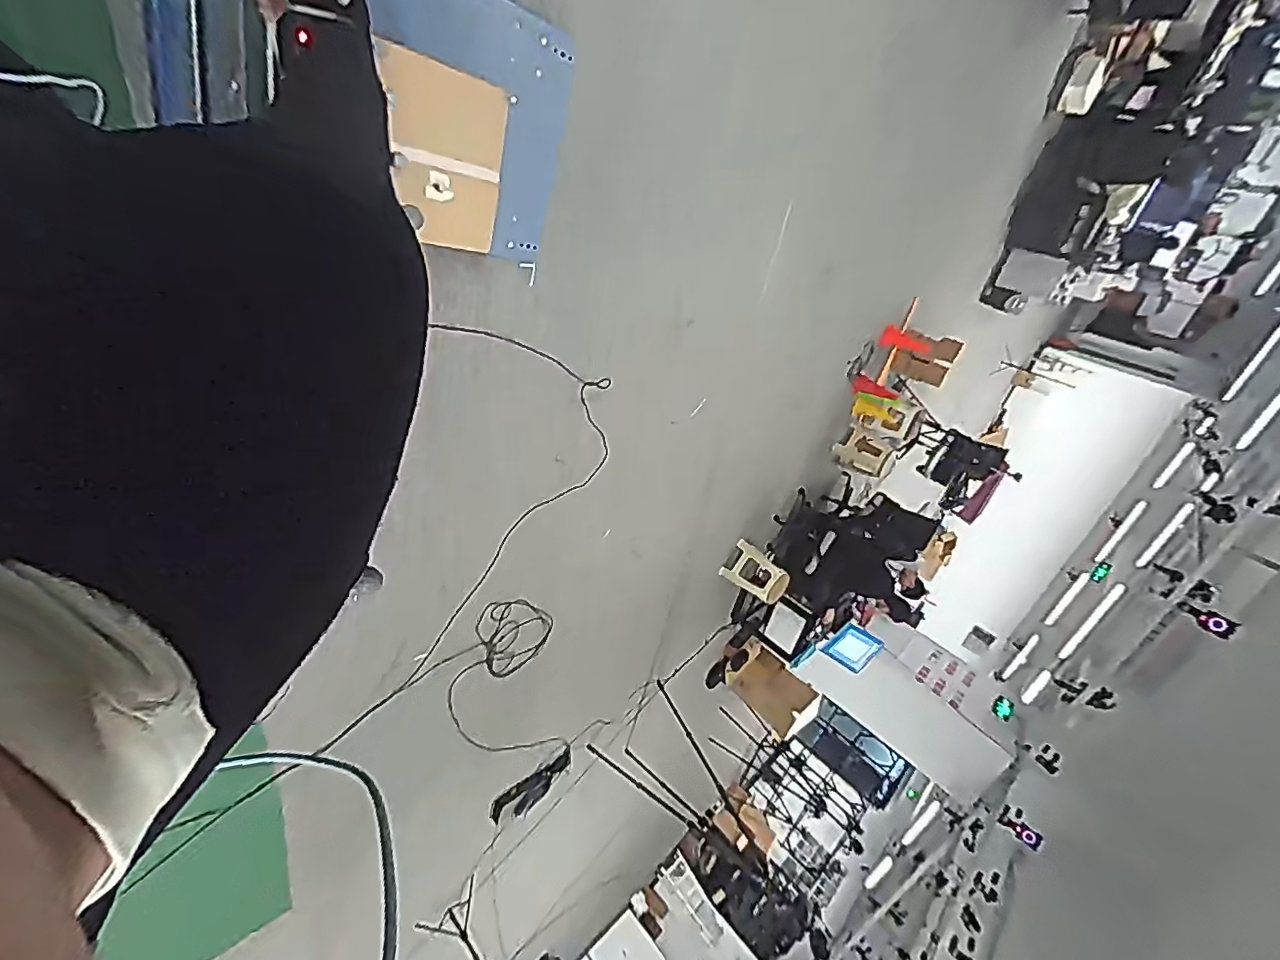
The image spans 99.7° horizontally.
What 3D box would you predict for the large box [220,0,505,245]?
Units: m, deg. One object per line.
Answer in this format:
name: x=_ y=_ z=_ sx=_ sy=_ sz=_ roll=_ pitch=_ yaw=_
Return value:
large box: x=-0.542 y=-0.691 z=1.081 sx=0.408 sy=0.320 sz=0.320 roll=-14 pitch=130 yaw=-47
